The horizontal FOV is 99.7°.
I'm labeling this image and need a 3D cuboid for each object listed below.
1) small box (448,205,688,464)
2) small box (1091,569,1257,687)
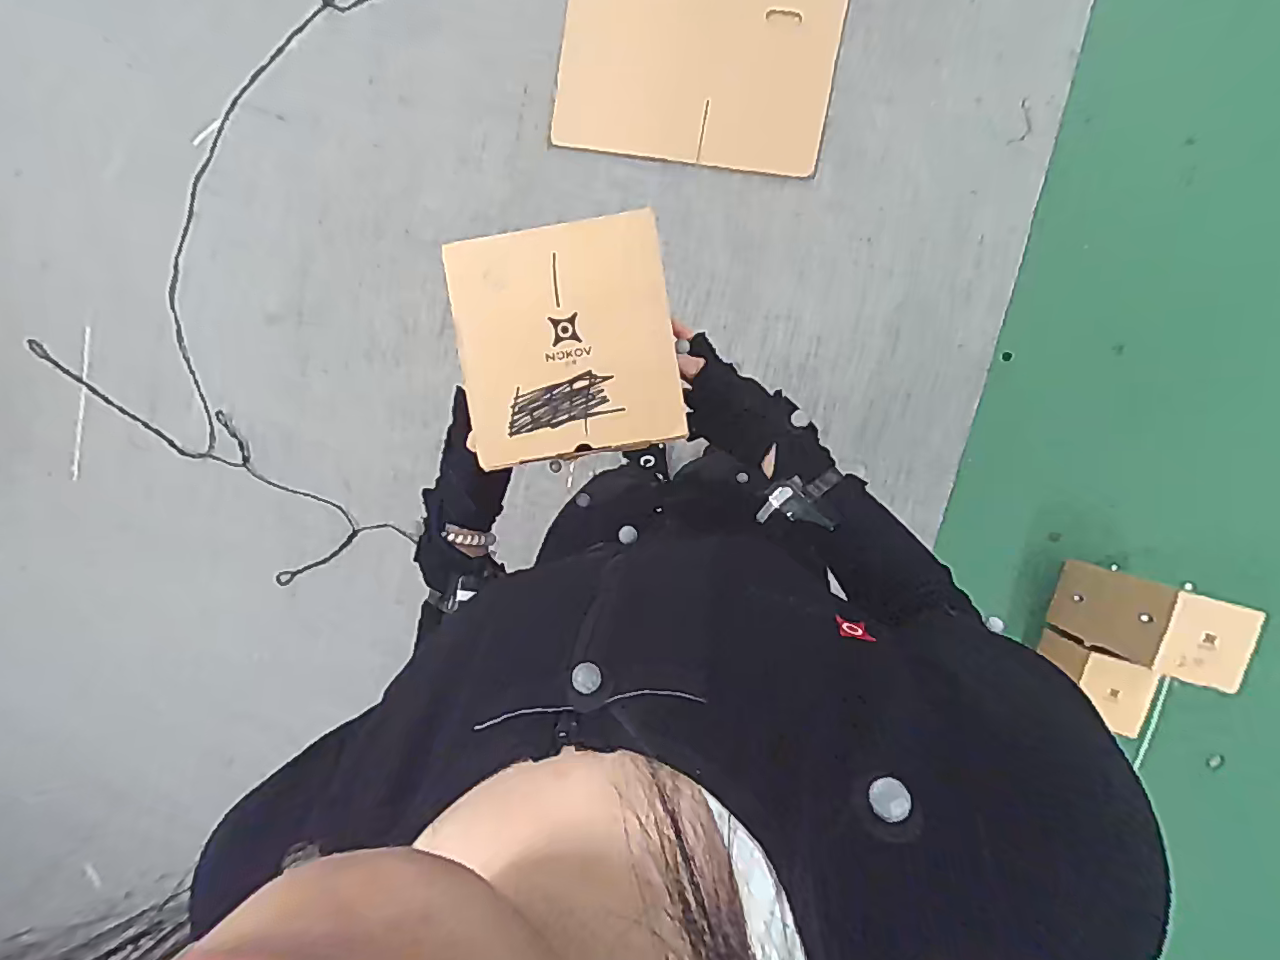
[{"bbox_3d":[-0.051,-0.116,0.492,0.168,0.176,0.179,-9,94,2],"label":"small box"},{"bbox_3d":[1.134,0.308,1.166,0.168,0.176,0.179,15,96,4],"label":"small box"}]
